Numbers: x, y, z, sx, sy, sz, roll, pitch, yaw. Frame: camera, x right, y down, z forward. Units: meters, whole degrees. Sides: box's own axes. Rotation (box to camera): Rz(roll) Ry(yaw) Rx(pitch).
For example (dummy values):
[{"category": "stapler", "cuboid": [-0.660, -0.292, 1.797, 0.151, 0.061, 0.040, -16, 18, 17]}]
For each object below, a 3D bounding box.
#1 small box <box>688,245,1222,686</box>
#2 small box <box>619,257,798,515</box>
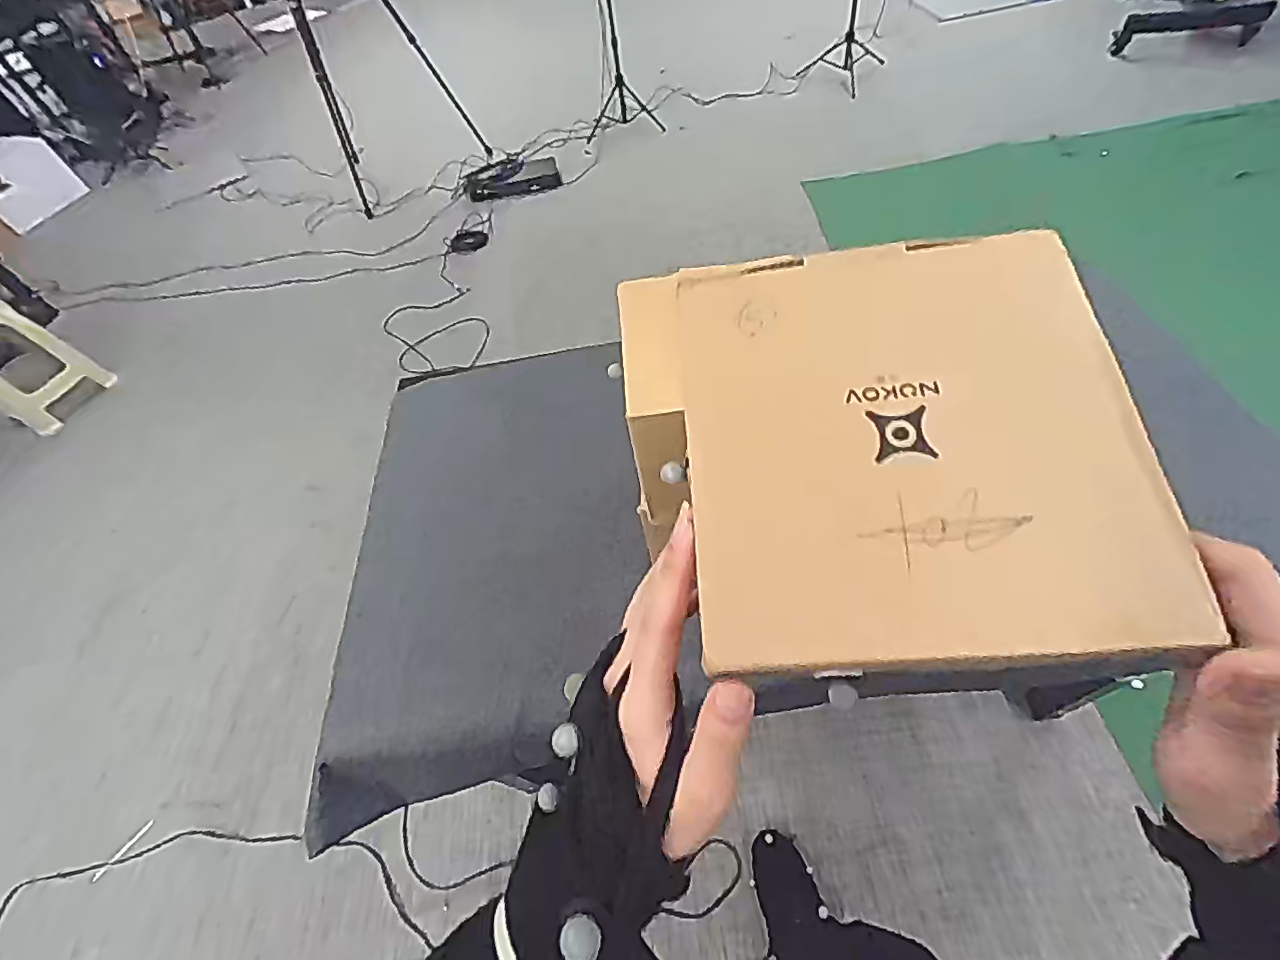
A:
[{"category": "small box", "cuboid": [0.113, 0.012, 0.285, 0.168, 0.176, 0.179, -4, 68, 7]}, {"category": "small box", "cuboid": [0.076, -0.079, 0.518, 0.168, 0.176, 0.179, -8, 54, 4]}]
